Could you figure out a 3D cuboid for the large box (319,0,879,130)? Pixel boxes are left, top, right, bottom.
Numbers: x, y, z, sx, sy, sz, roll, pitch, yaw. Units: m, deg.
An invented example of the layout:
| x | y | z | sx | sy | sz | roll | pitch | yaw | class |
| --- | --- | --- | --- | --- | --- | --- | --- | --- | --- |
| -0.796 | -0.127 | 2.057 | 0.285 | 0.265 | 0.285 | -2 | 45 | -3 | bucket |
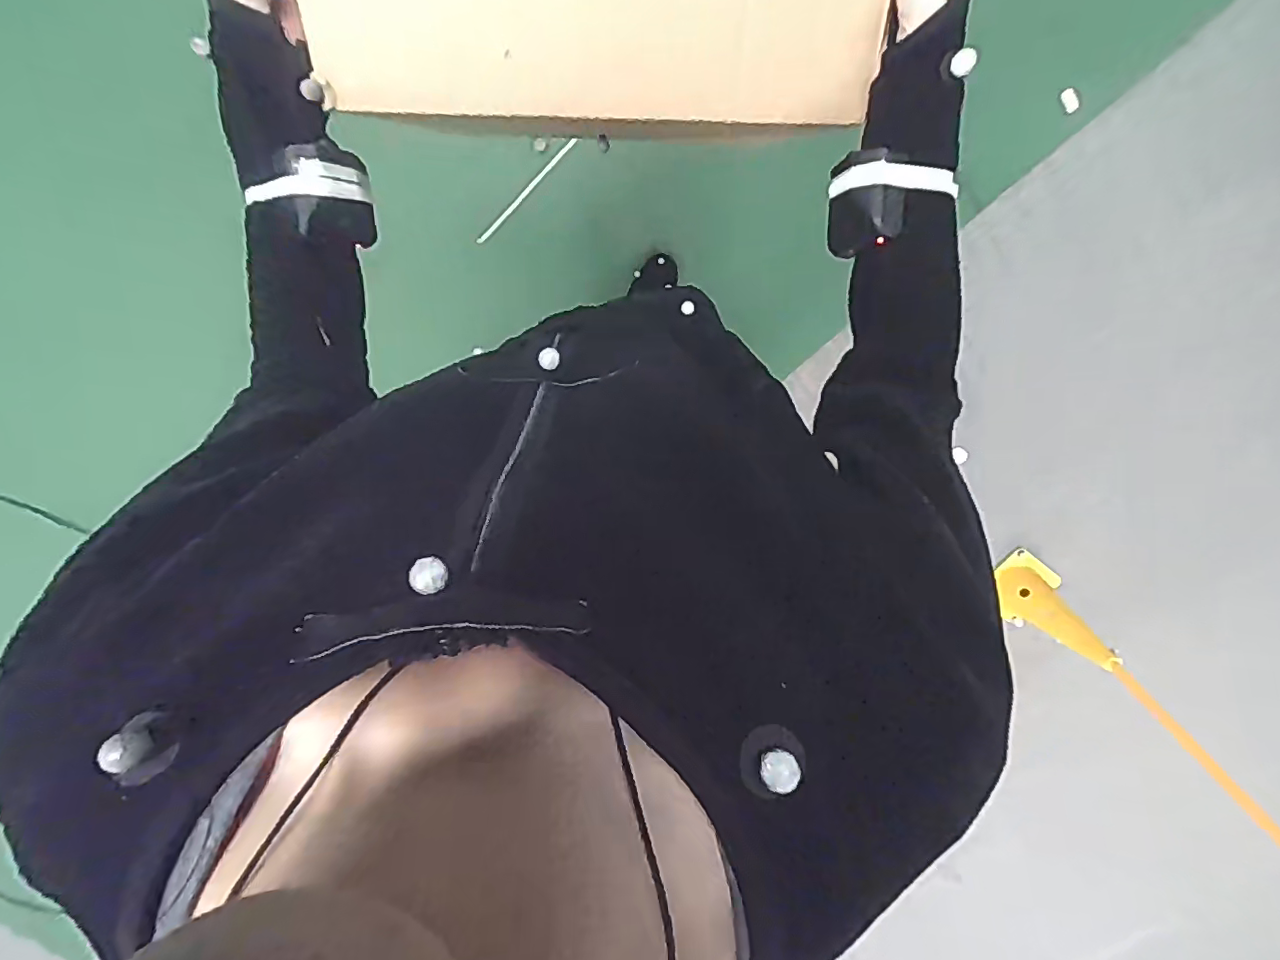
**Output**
| x | y | z | sx | sy | sz | roll | pitch | yaw | class |
| --- | --- | --- | --- | --- | --- | --- | --- | --- | --- |
| -0.030 | -0.489 | 0.466 | 0.408 | 0.320 | 0.320 | 0 | 120 | -3 | large box |
